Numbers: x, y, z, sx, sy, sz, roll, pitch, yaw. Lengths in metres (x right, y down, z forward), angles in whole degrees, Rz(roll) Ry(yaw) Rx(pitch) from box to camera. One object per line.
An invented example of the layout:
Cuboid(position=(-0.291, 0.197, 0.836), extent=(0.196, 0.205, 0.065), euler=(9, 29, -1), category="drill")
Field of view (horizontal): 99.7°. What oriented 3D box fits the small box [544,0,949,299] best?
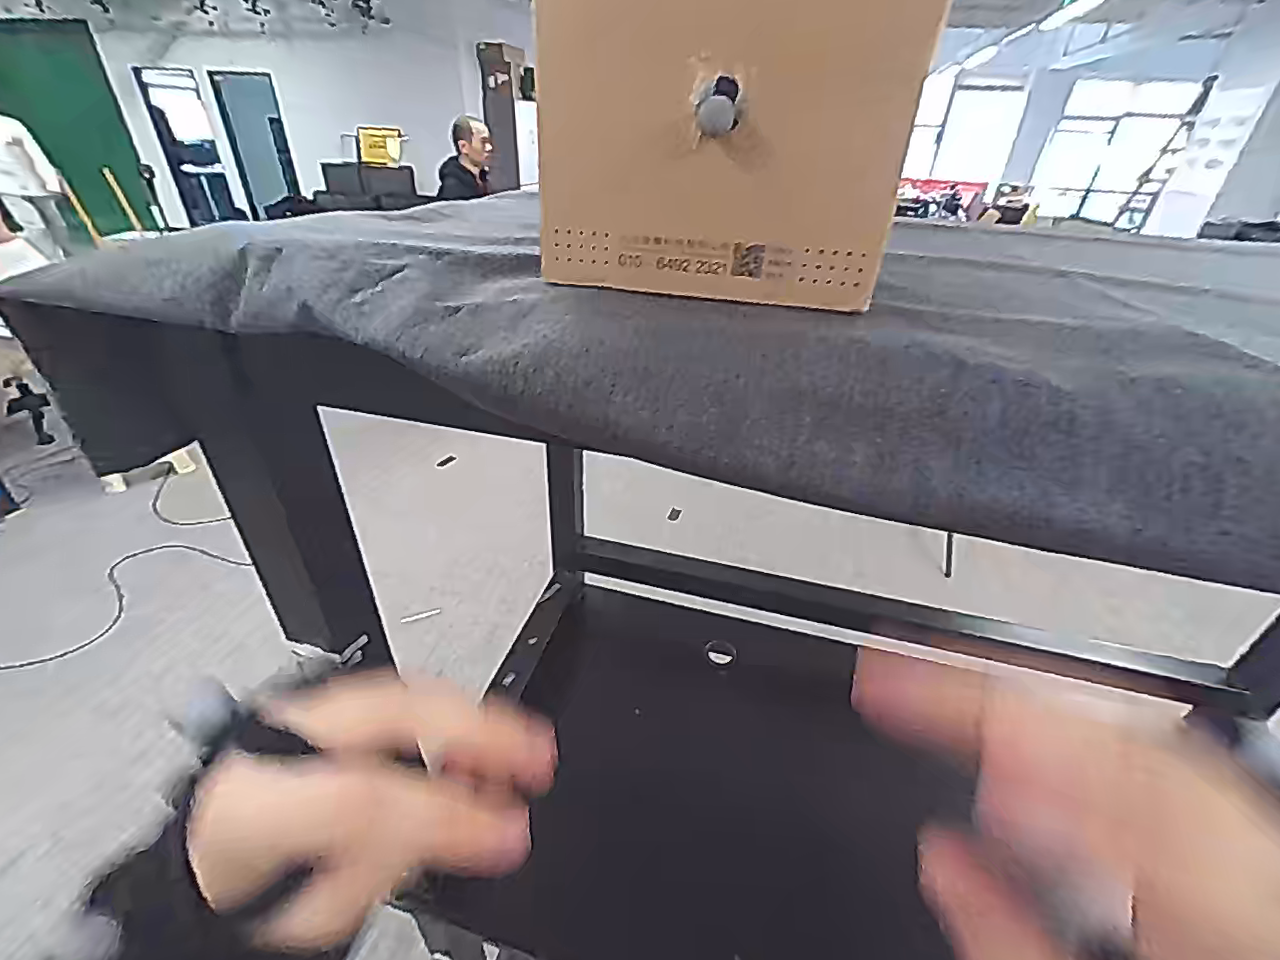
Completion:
Cuboid(position=(0.053, -0.206, 0.296), extent=(0.168, 0.176, 0.179), euler=(9, 32, 7), category="small box")
